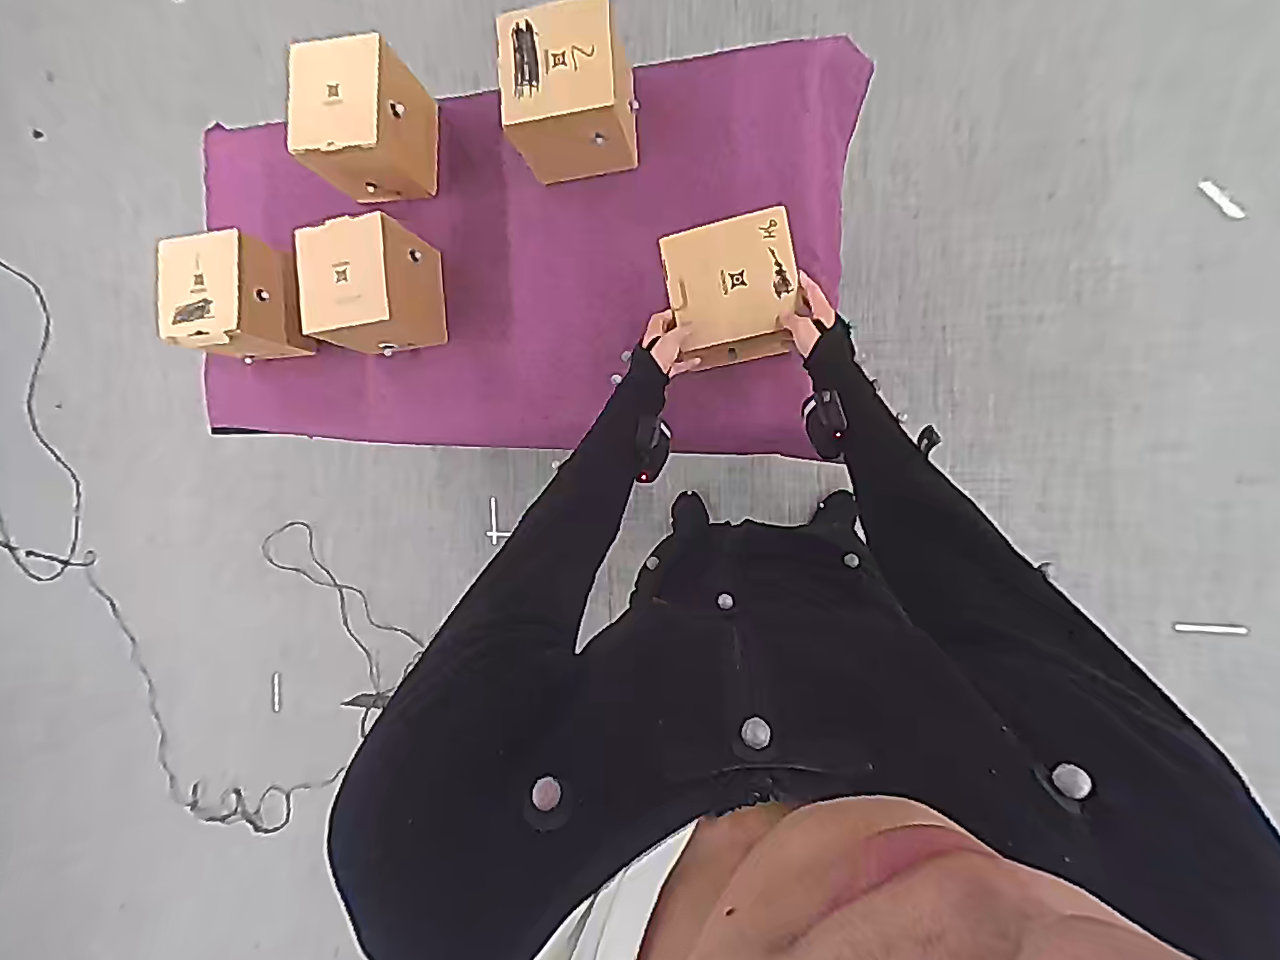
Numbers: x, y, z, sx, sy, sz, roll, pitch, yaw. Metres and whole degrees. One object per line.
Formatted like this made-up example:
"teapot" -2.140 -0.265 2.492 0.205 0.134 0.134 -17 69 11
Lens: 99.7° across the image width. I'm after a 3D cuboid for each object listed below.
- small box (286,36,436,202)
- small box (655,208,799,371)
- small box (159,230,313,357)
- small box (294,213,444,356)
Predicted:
"small box" -0.474 -0.612 0.938 0.168 0.176 0.179 2 92 11
"small box" 0.133 -0.271 0.815 0.179 0.176 0.168 -10 90 11
"small box" -0.732 -0.329 0.996 0.168 0.176 0.179 -2 89 11
"small box" -0.463 -0.330 0.944 0.168 0.176 0.179 -5 89 12
